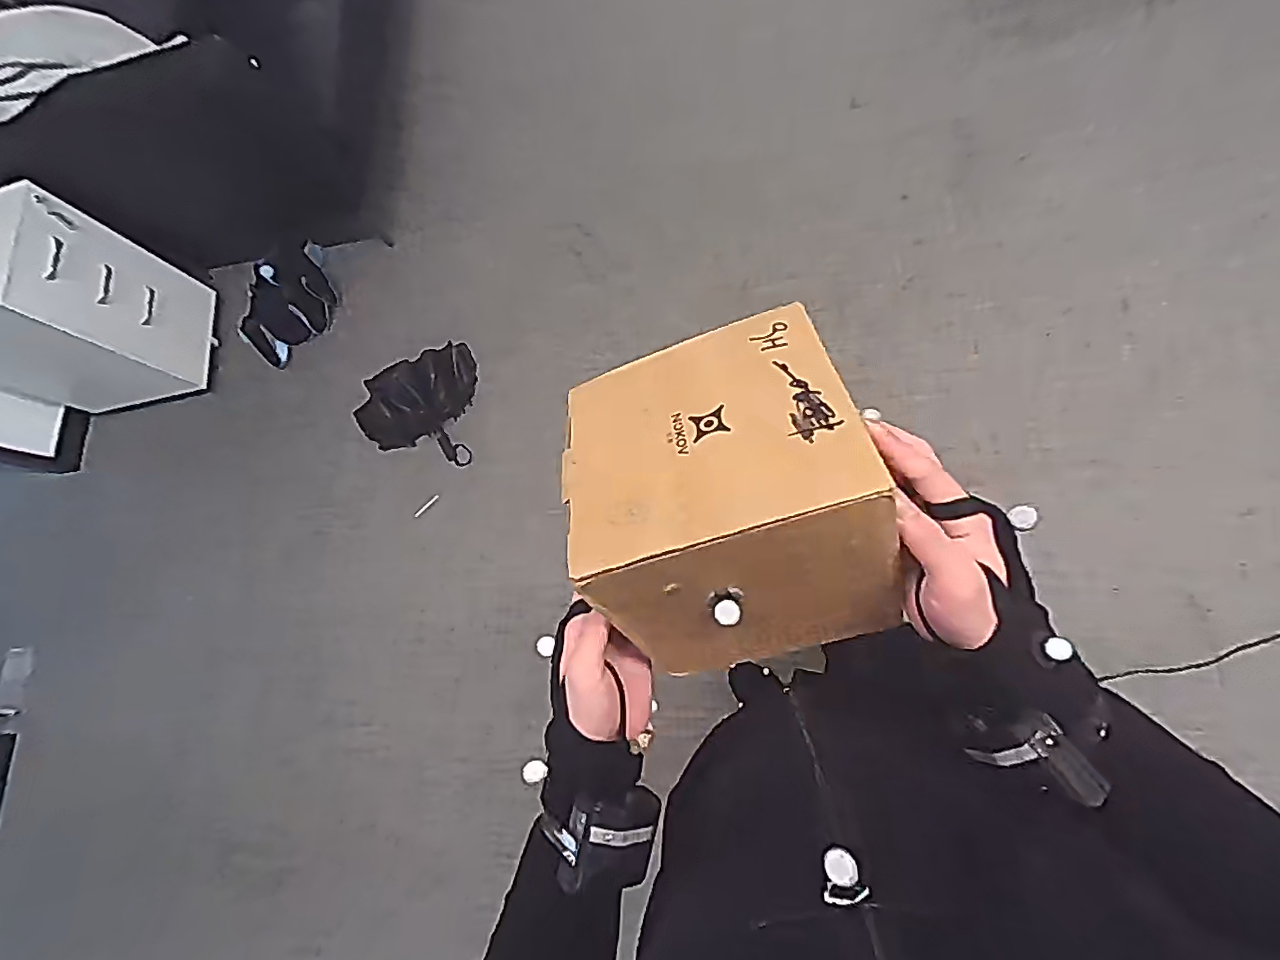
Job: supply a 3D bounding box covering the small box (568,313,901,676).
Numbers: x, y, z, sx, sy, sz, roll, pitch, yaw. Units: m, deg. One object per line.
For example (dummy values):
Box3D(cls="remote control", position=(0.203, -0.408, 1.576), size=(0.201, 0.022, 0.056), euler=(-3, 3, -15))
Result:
Box3D(cls="small box", position=(0.067, 0.021, 0.385), size=(0.179, 0.176, 0.168), euler=(-17, 46, 13))
